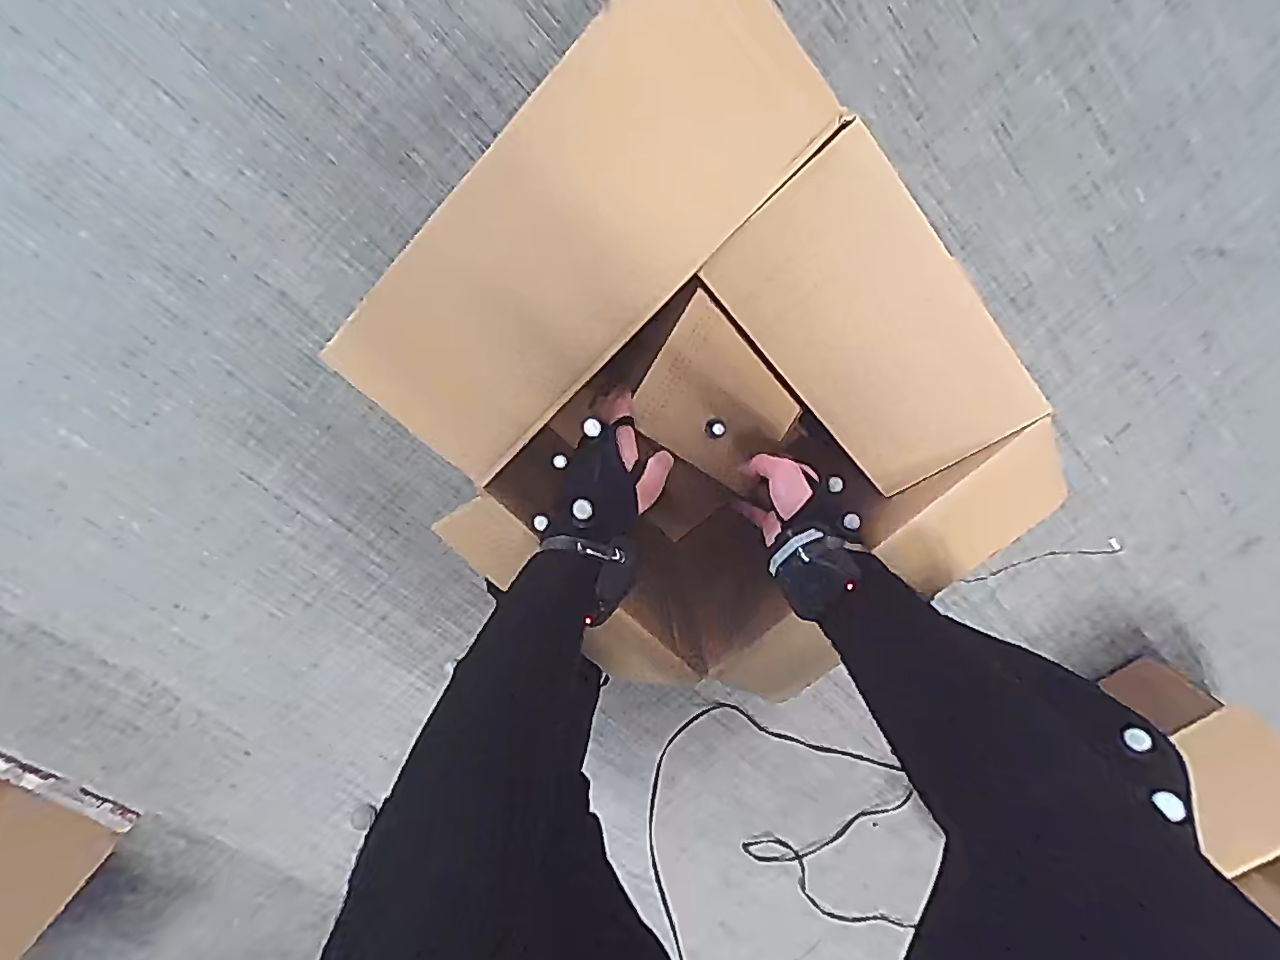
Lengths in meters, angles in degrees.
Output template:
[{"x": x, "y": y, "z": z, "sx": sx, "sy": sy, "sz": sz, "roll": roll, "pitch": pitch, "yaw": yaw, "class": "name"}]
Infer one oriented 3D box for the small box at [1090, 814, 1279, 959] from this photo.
[{"x": 0.843, "y": 0.645, "z": 0.804, "sx": 0.168, "sy": 0.176, "sz": 0.179, "roll": 36, "pitch": 104, "yaw": -15, "class": "small box"}]
